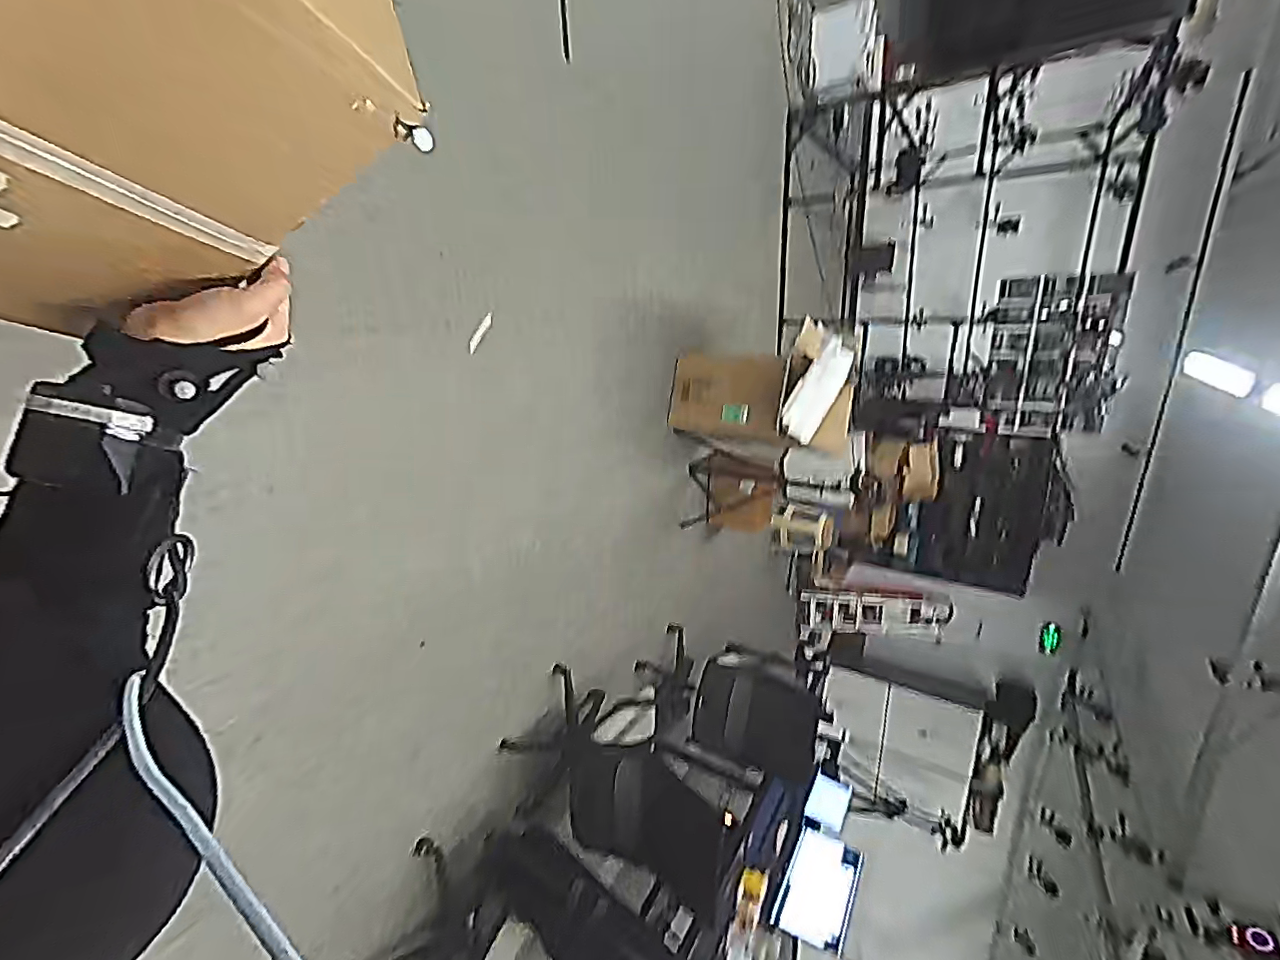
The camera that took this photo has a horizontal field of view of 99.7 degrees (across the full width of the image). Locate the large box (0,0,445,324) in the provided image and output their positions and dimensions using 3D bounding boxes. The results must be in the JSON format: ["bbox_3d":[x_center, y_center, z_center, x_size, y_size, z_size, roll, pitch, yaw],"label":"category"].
[{"bbox_3d":[-0.371,-0.330,0.223,0.408,0.320,0.320,10,59,-64],"label":"large box"}]
